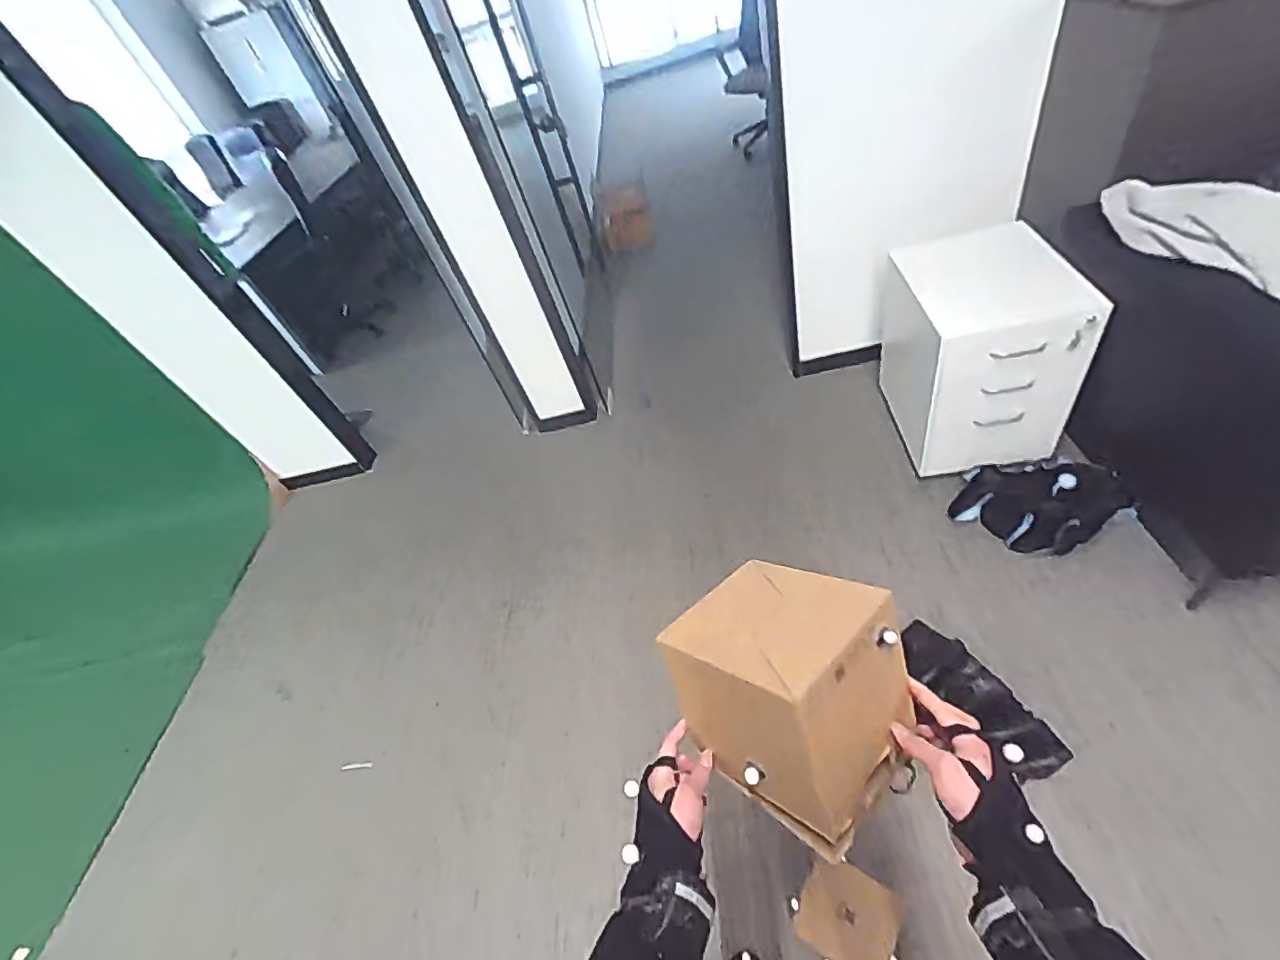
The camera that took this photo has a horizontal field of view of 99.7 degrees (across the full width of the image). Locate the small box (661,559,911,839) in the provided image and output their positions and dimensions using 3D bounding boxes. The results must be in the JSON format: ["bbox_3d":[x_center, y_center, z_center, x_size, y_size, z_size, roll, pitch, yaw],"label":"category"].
[{"bbox_3d":[0.147,0.203,0.555,0.168,0.176,0.179,-31,24,-32],"label":"small box"}]
